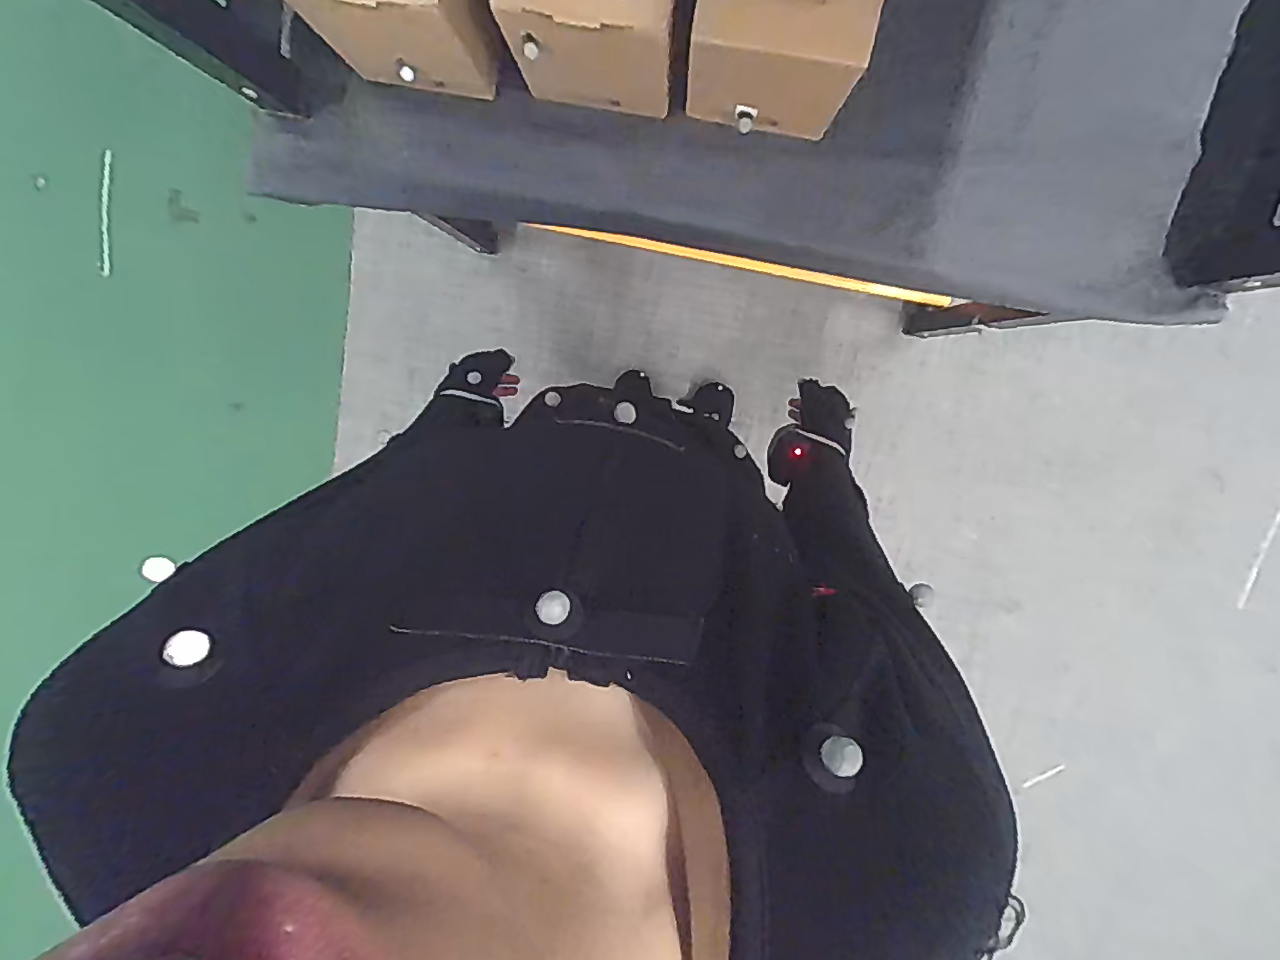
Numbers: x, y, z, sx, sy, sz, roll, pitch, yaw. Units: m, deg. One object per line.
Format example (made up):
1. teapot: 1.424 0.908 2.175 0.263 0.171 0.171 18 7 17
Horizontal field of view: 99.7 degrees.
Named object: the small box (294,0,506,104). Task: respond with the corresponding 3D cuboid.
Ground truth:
1. small box: -0.244 -0.536 0.560 0.168 0.176 0.179 9 101 1
